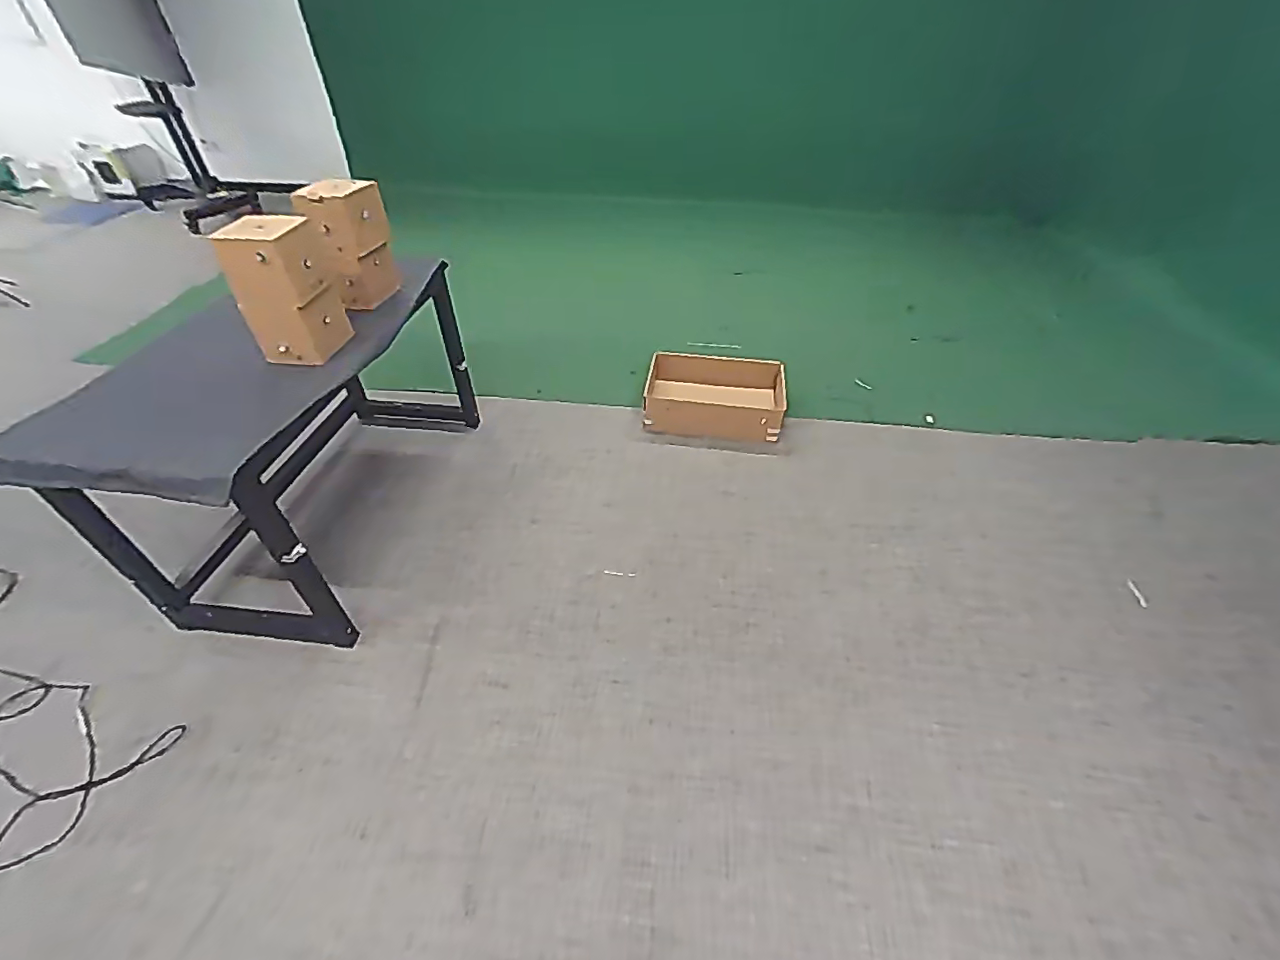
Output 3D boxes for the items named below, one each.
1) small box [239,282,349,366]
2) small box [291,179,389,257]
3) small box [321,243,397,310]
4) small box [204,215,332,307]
[{"bbox_3d":[-0.929,-0.432,1.478,0.168,0.176,0.179,4,44,6],"label":"small box"},{"bbox_3d":[-0.890,-0.787,1.625,0.168,0.176,0.179,9,44,9],"label":"small box"},{"bbox_3d":[-0.909,-0.660,1.729,0.168,0.176,0.179,7,42,7],"label":"small box"},{"bbox_3d":[-0.923,-0.550,1.363,0.179,0.176,0.168,3,43,5],"label":"small box"}]
